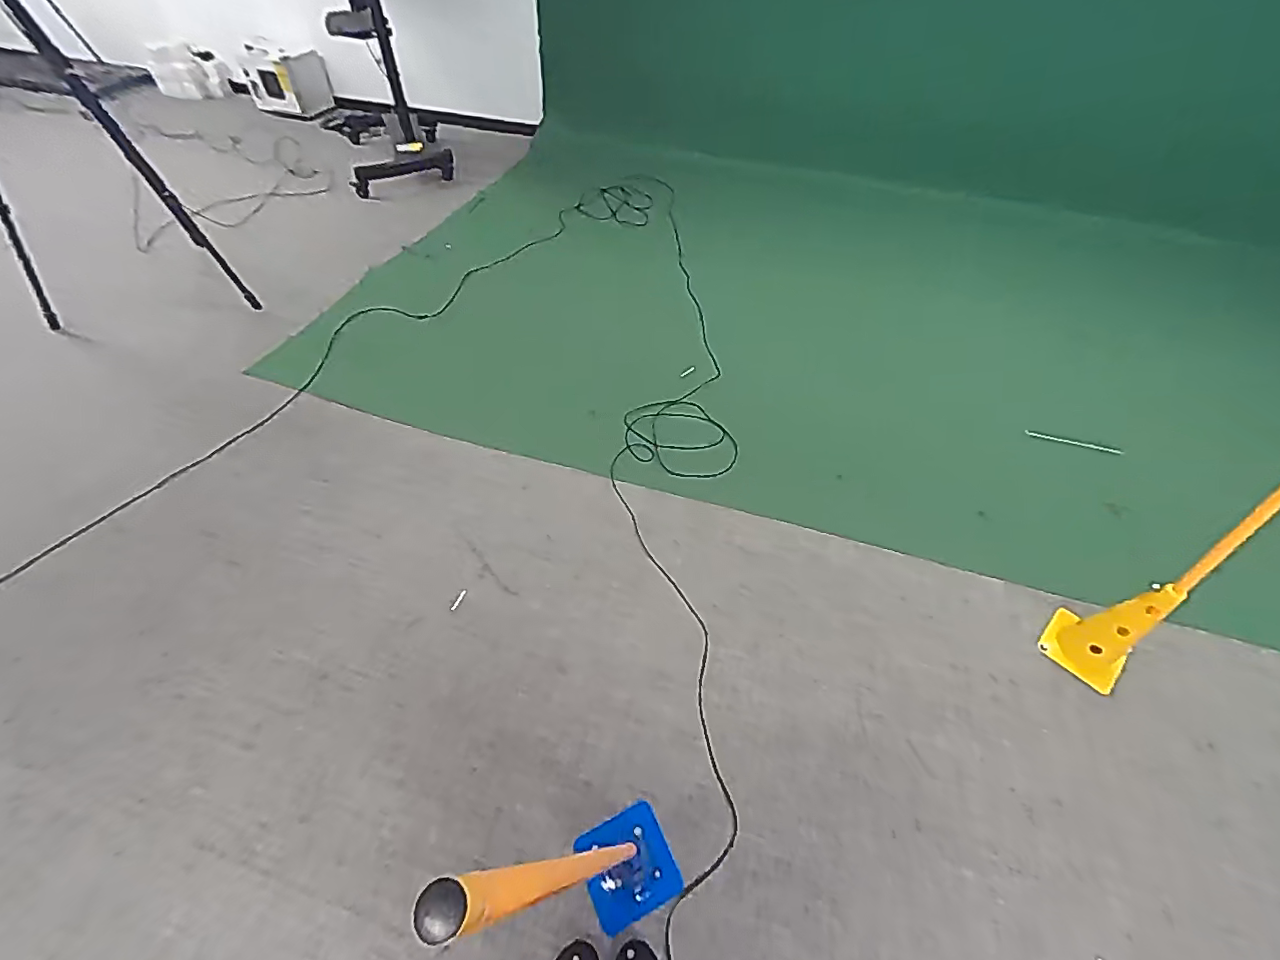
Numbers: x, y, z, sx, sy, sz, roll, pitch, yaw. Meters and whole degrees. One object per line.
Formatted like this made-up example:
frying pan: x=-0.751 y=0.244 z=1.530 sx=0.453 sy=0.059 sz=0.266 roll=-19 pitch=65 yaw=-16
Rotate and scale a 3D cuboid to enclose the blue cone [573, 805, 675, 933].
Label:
blue cone: x=-0.031 y=0.762 z=1.076 sx=0.193 sy=0.380 sz=0.192 roll=-22 pitch=55 yaw=-18
